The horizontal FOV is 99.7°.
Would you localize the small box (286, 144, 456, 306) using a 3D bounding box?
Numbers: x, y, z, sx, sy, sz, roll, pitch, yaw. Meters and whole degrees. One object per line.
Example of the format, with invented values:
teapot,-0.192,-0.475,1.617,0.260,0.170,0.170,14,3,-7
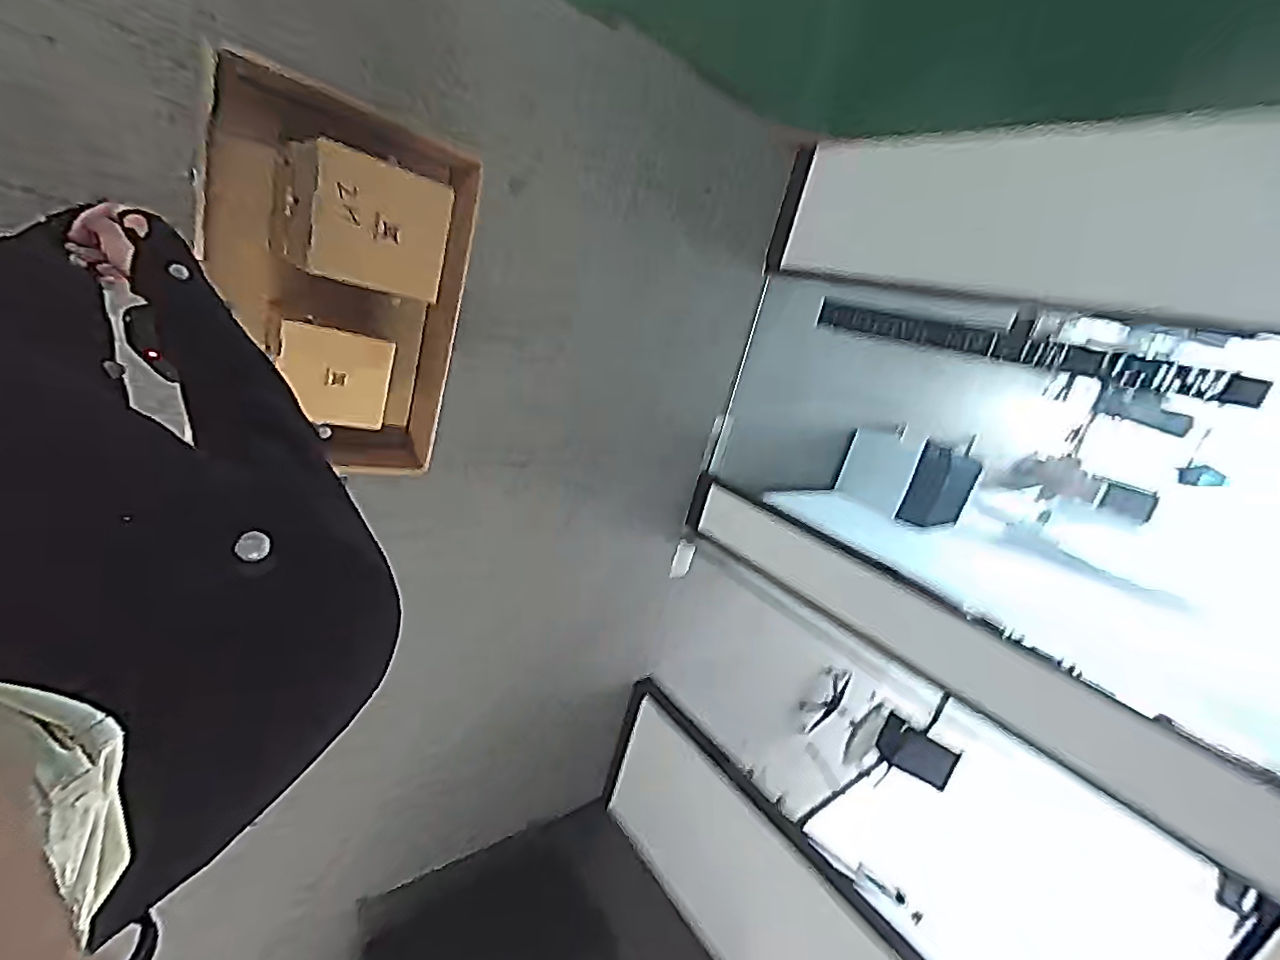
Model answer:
small box,-0.404,-0.376,0.807,0.179,0.176,0.168,2,111,-43
